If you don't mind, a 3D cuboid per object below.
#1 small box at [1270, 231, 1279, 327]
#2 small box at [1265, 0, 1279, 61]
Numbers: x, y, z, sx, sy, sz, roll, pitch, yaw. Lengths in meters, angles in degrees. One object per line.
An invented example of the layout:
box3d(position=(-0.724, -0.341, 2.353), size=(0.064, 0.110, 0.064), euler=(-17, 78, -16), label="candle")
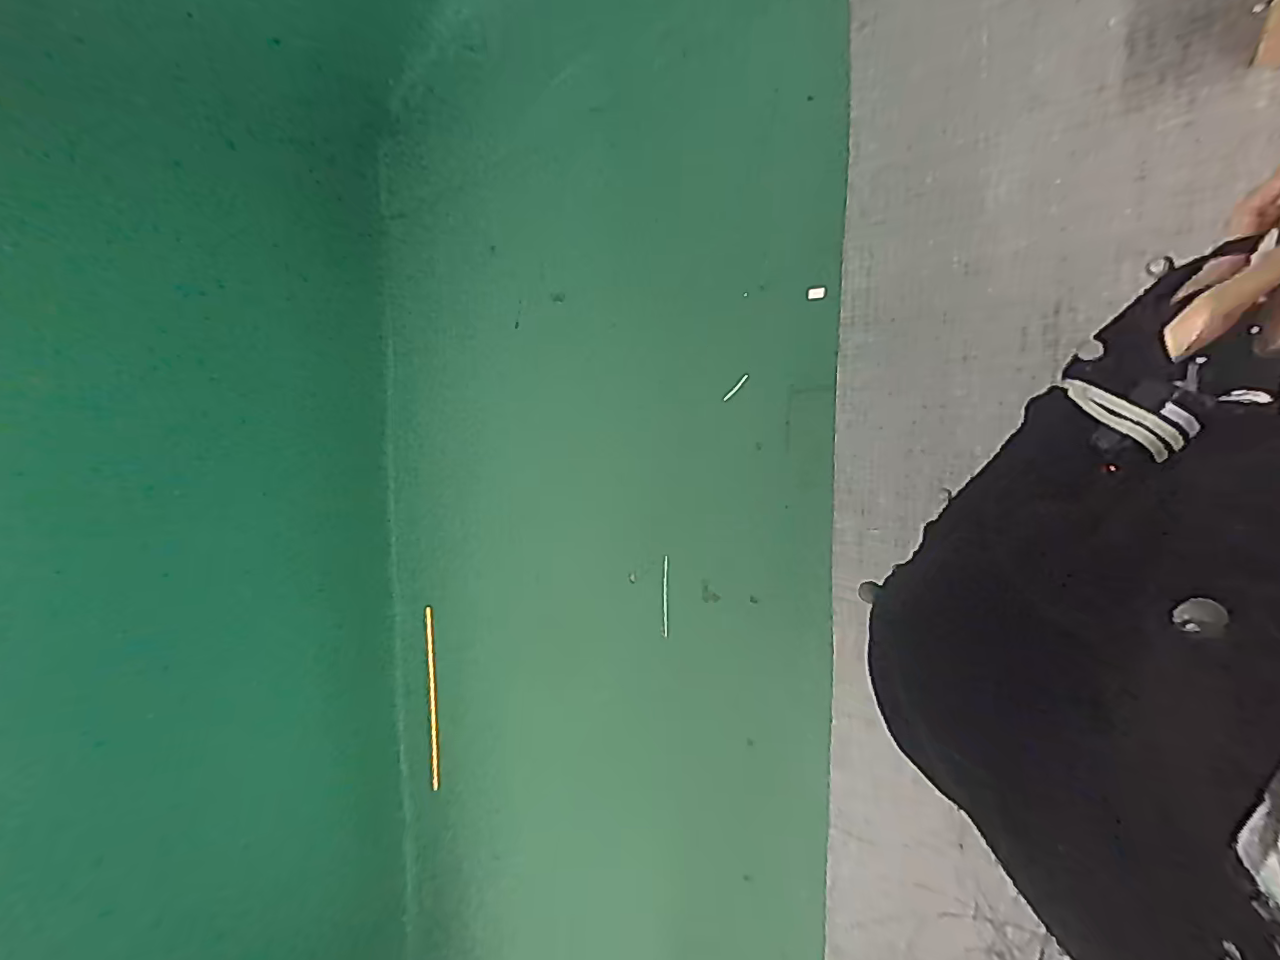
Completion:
box3d(position=(0.485, -0.170, 0.287), size=(0.168, 0.176, 0.179), euler=(9, 102, 39), label="small box")
box3d(position=(1.135, -0.808, 0.854), size=(0.168, 0.176, 0.179), euler=(13, 103, 43), label="small box")
